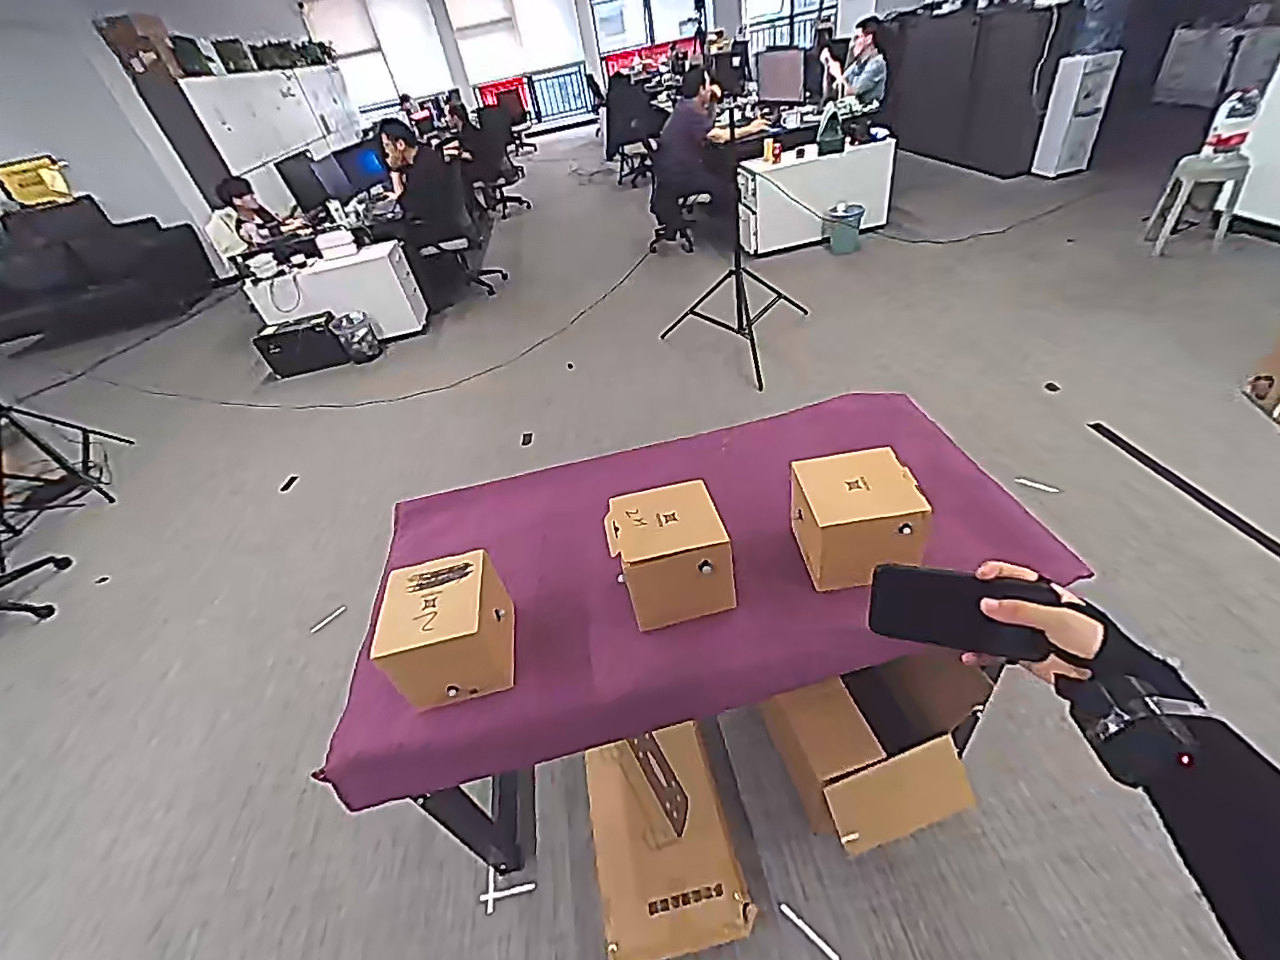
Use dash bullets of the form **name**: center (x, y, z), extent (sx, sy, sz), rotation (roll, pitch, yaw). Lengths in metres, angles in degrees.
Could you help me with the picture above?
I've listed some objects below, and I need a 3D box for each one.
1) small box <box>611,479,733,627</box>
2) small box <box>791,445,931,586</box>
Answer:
- **small box**: center (0.059, 0.127, 0.946), extent (0.179, 0.176, 0.168), rotation (-14, 37, -2)
- **small box**: center (0.371, 0.065, 0.940), extent (0.179, 0.176, 0.168), rotation (-10, 40, 3)
